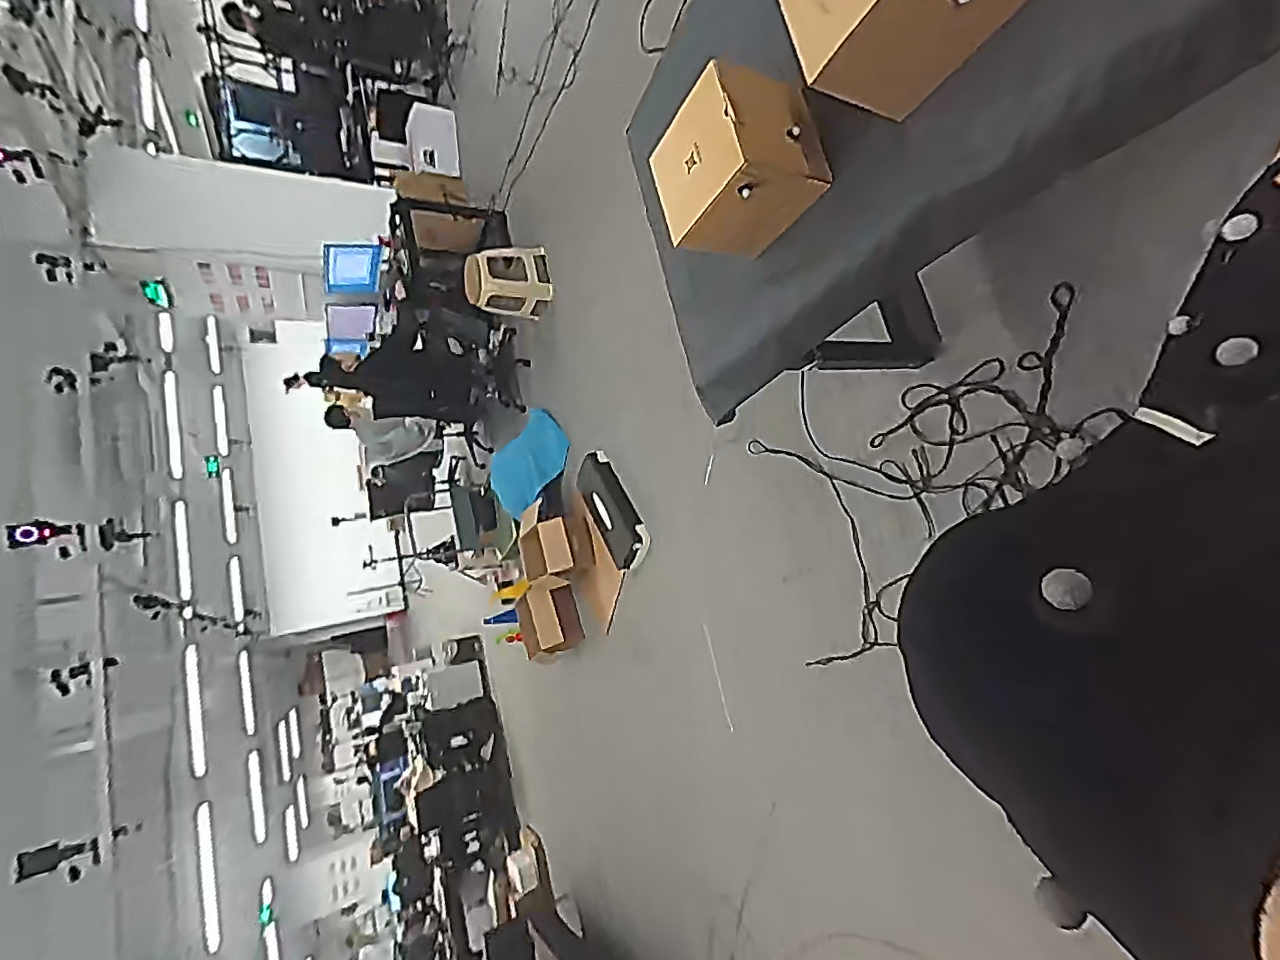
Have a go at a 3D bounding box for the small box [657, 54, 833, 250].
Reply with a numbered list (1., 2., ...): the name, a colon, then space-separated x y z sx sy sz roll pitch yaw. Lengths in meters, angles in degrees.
1. small box: 0.153 -0.472 0.812 0.179 0.176 0.168 -32 68 56

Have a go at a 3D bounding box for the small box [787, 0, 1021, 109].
1. small box: 0.283 -0.546 0.574 0.179 0.176 0.168 -32 67 59
